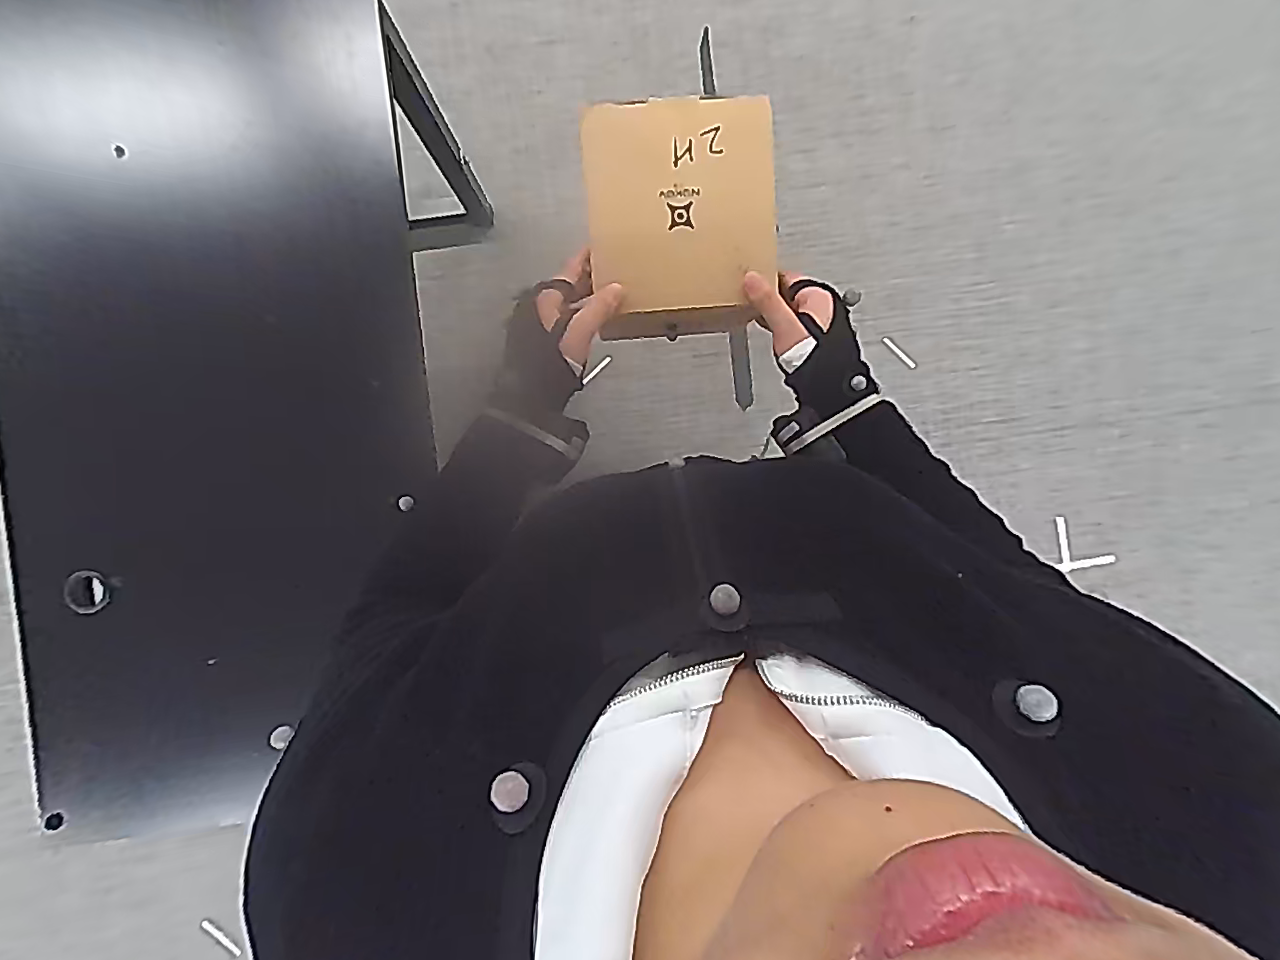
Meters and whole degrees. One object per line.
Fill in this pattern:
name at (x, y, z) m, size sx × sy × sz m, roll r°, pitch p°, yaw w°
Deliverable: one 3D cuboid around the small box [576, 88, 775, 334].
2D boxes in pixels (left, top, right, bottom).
small box at (0.031, -0.248, 0.545) m, size 0.168 × 0.176 × 0.179 m, roll -5°, pitch 96°, yaw -1°
